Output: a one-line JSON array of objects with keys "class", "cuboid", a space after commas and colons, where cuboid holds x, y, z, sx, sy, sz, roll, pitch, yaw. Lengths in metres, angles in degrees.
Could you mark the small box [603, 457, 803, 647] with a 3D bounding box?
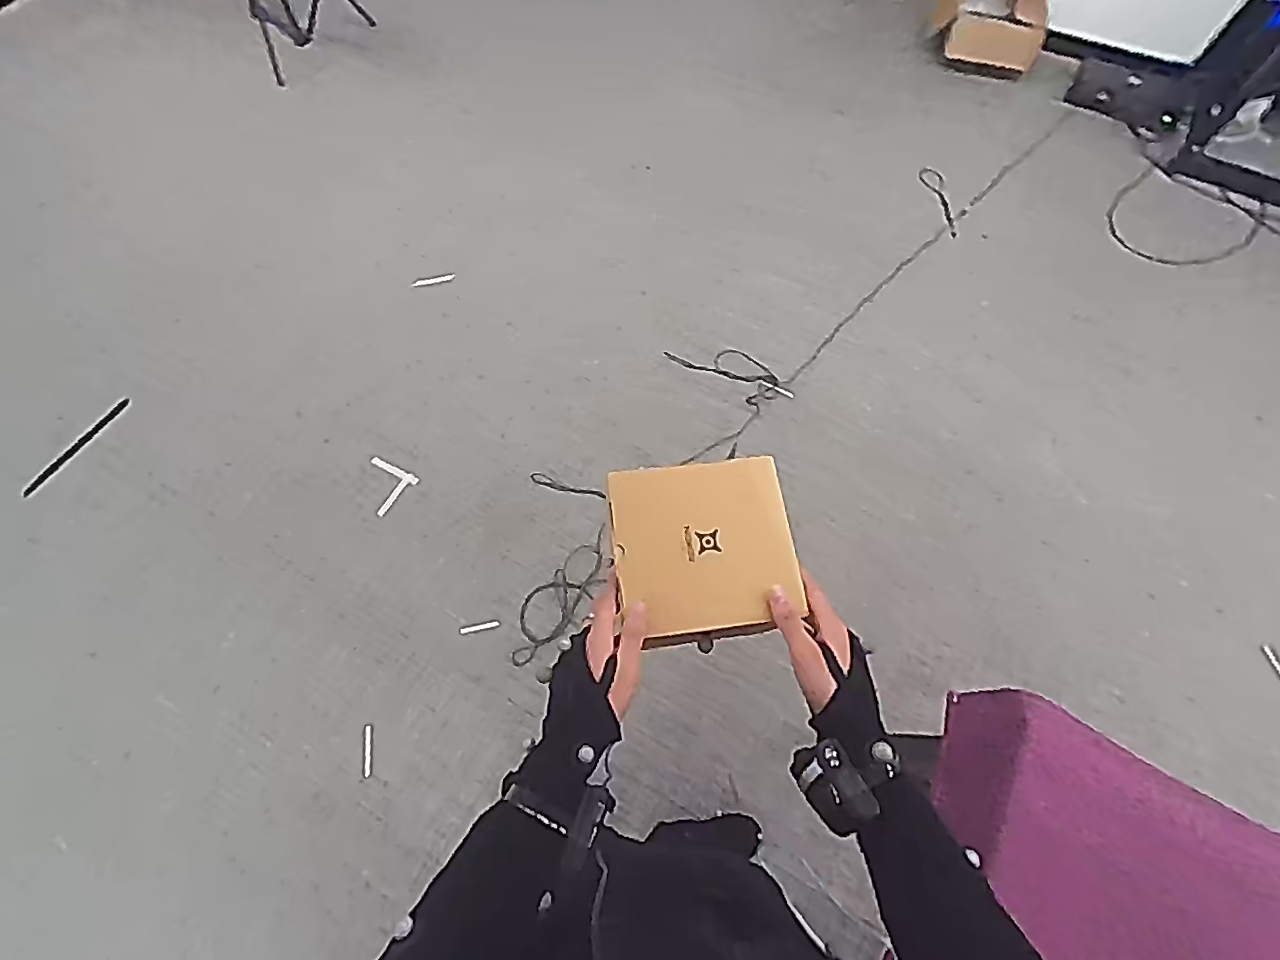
[{"class": "small box", "cuboid": [0.055, 0.088, 0.599, 0.179, 0.176, 0.168, -7, 71, -4]}]
